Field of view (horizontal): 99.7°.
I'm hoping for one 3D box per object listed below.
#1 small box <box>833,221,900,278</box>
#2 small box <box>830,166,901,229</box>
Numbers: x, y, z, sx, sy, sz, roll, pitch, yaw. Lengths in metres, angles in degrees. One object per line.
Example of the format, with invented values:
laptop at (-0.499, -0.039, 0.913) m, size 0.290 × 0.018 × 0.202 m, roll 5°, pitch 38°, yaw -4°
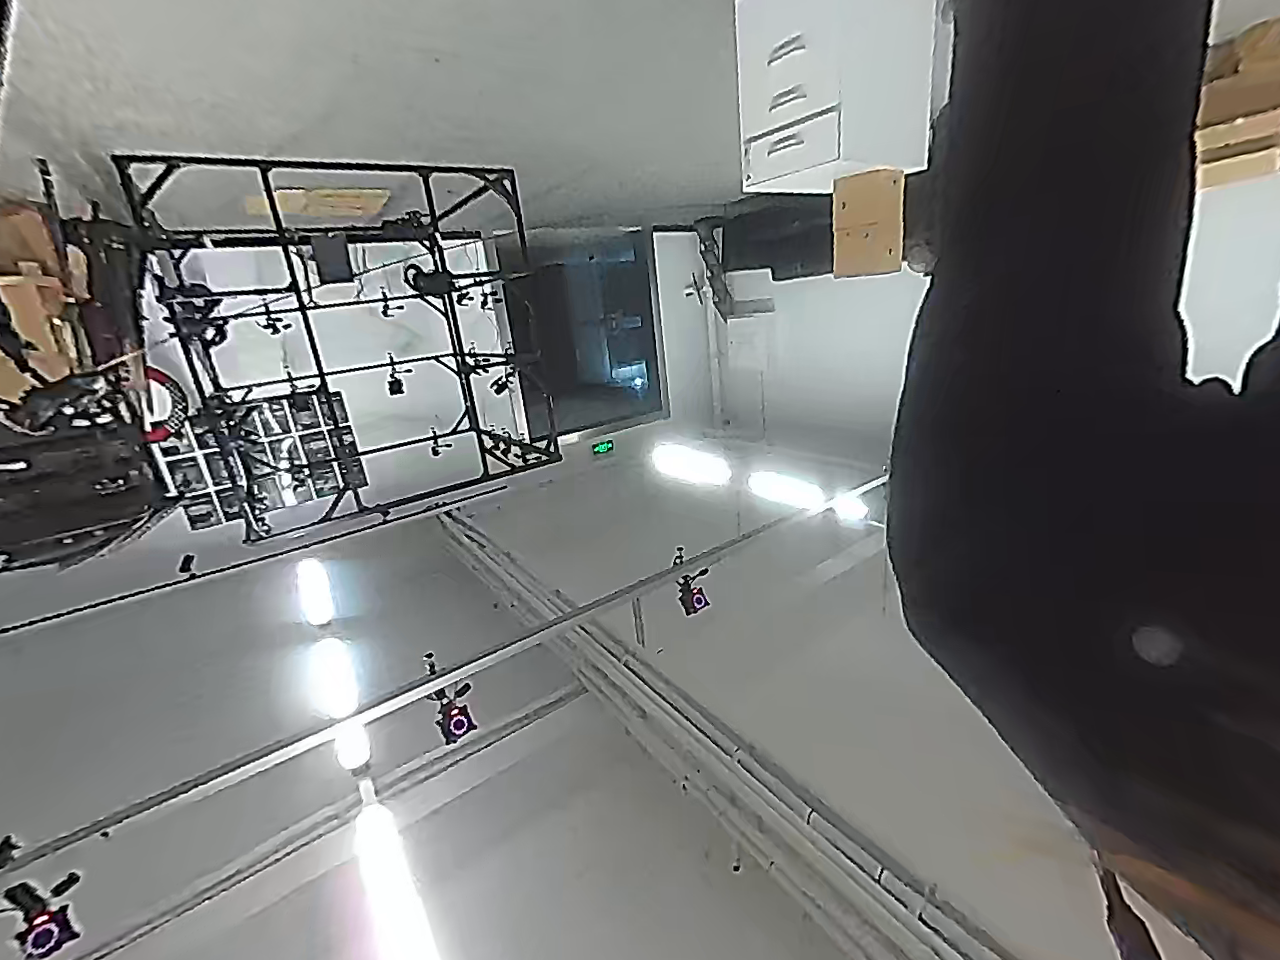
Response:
small box at (0.817, -0.836, 1.956) m, size 0.179 × 0.176 × 0.168 m, roll -20°, pitch -156°, yaw -30°
small box at (0.793, -0.988, 1.899) m, size 0.168 × 0.176 × 0.179 m, roll -21°, pitch -156°, yaw -34°
